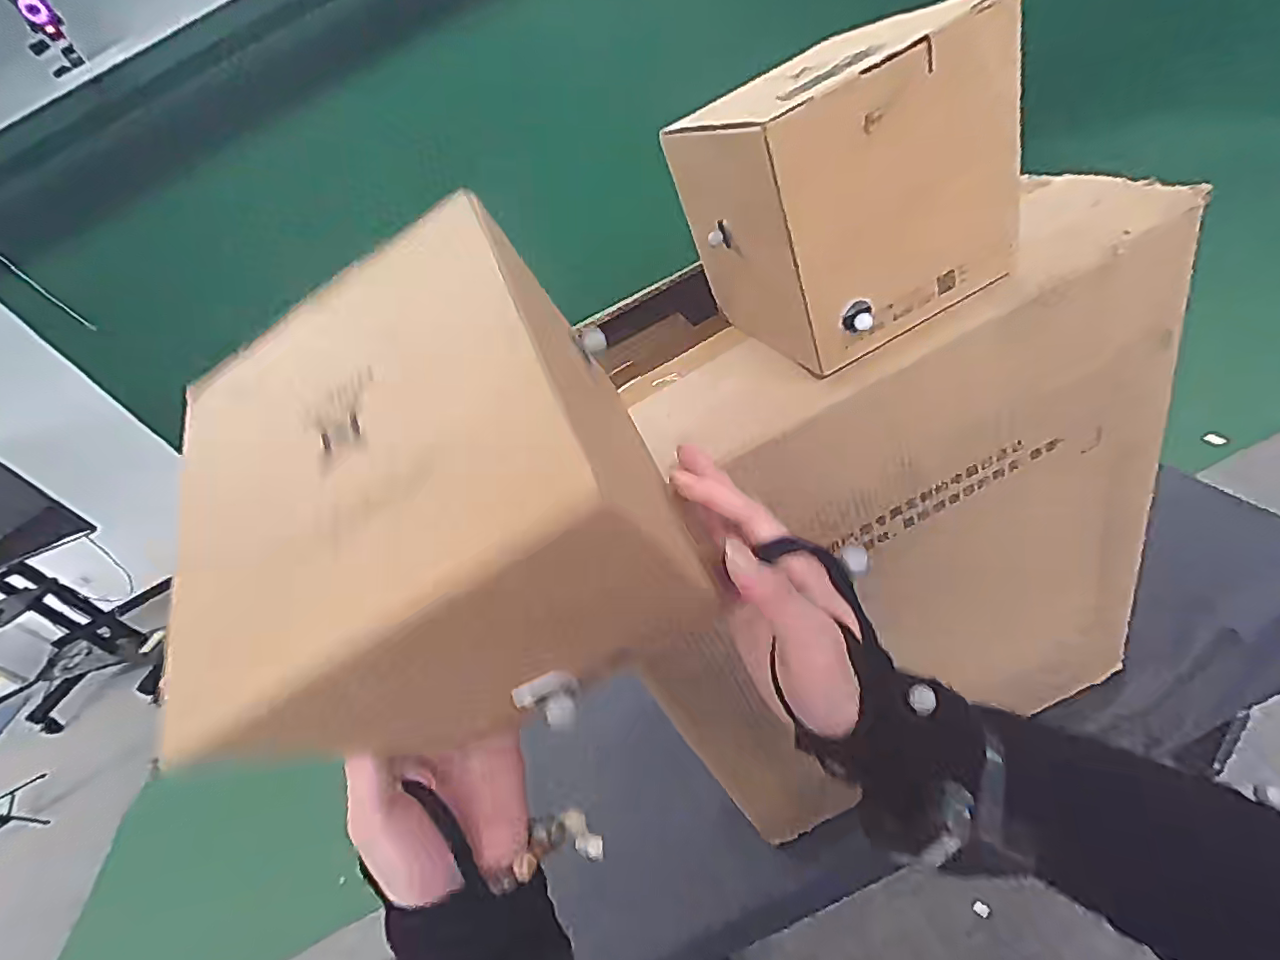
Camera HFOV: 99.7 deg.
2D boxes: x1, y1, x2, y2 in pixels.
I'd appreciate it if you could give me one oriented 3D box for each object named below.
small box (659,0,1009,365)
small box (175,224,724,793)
[{"bbox_3d":[0.141,-0.210,0.408,0.168,0.176,0.179,-29,35,-1],"label":"small box"},{"bbox_3d":[-0.080,0.024,0.272,0.168,0.176,0.179,-32,61,9],"label":"small box"}]
